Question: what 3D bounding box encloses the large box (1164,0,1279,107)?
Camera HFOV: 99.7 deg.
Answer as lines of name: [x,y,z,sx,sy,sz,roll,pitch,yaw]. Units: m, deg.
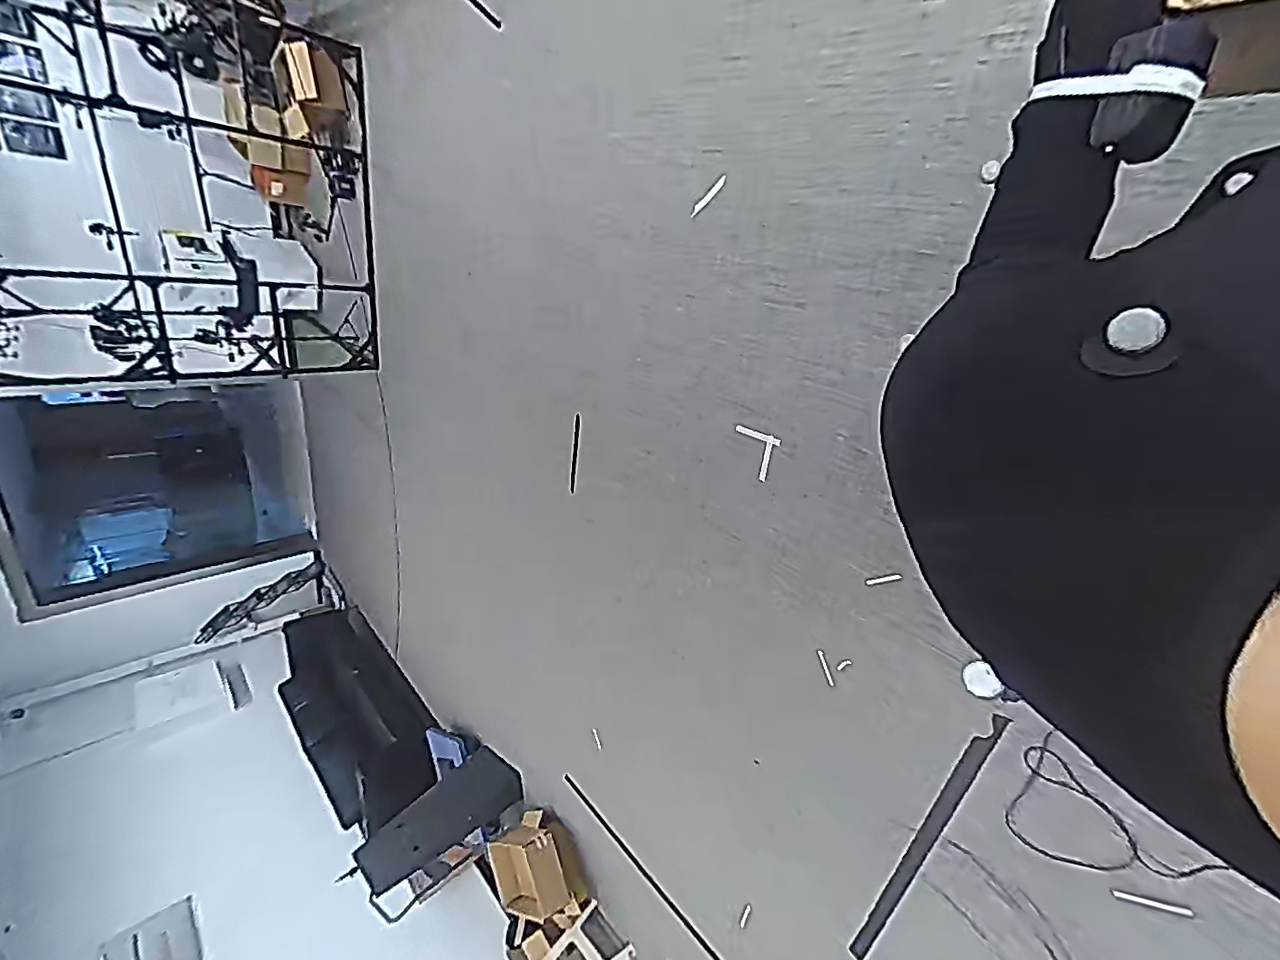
large box: [0.570,-0.409,0.255,0.408,0.320,0.320,22,123,38]
